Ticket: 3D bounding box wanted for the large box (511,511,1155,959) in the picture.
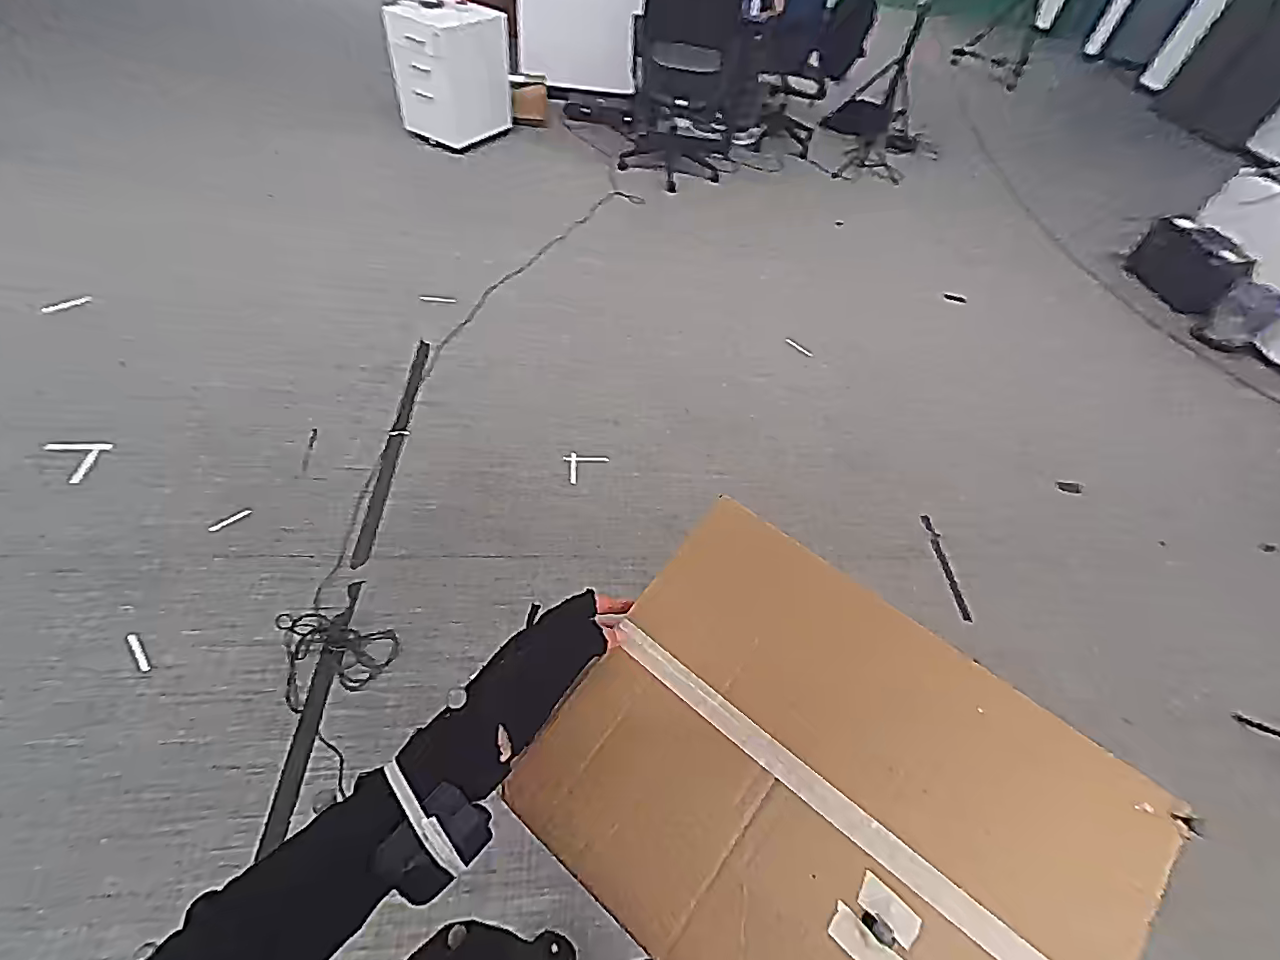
[{"bbox_3d":[0.148,0.304,0.555,0.408,0.320,0.320,36,73,17],"label":"large box"}]
